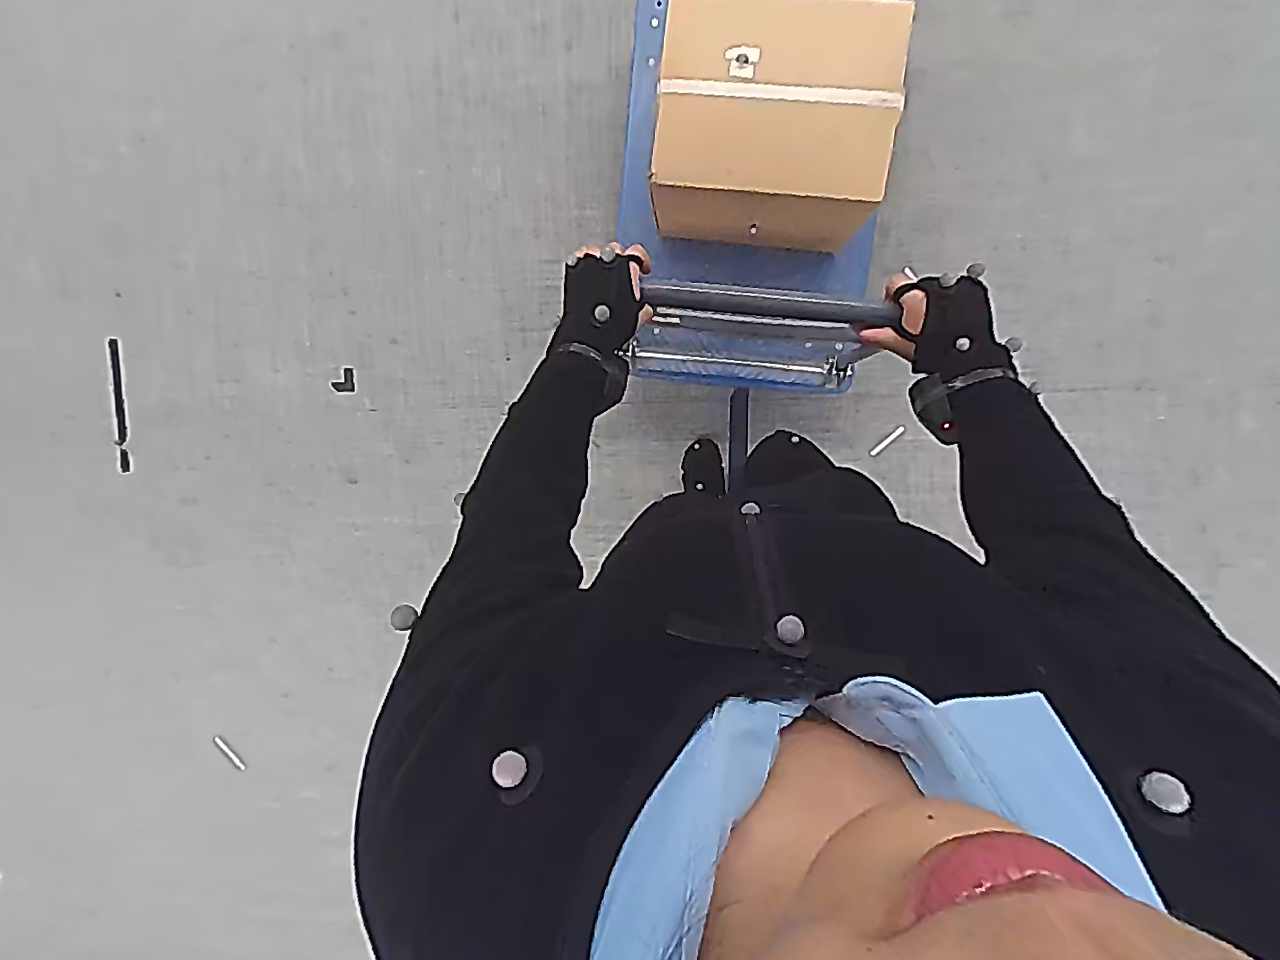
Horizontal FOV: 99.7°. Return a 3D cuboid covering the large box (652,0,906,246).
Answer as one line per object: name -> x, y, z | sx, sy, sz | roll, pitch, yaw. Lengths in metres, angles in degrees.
large box -> 0.249, -0.678, 1.077 | 0.408, 0.320, 0.320 | 7, 97, 6
